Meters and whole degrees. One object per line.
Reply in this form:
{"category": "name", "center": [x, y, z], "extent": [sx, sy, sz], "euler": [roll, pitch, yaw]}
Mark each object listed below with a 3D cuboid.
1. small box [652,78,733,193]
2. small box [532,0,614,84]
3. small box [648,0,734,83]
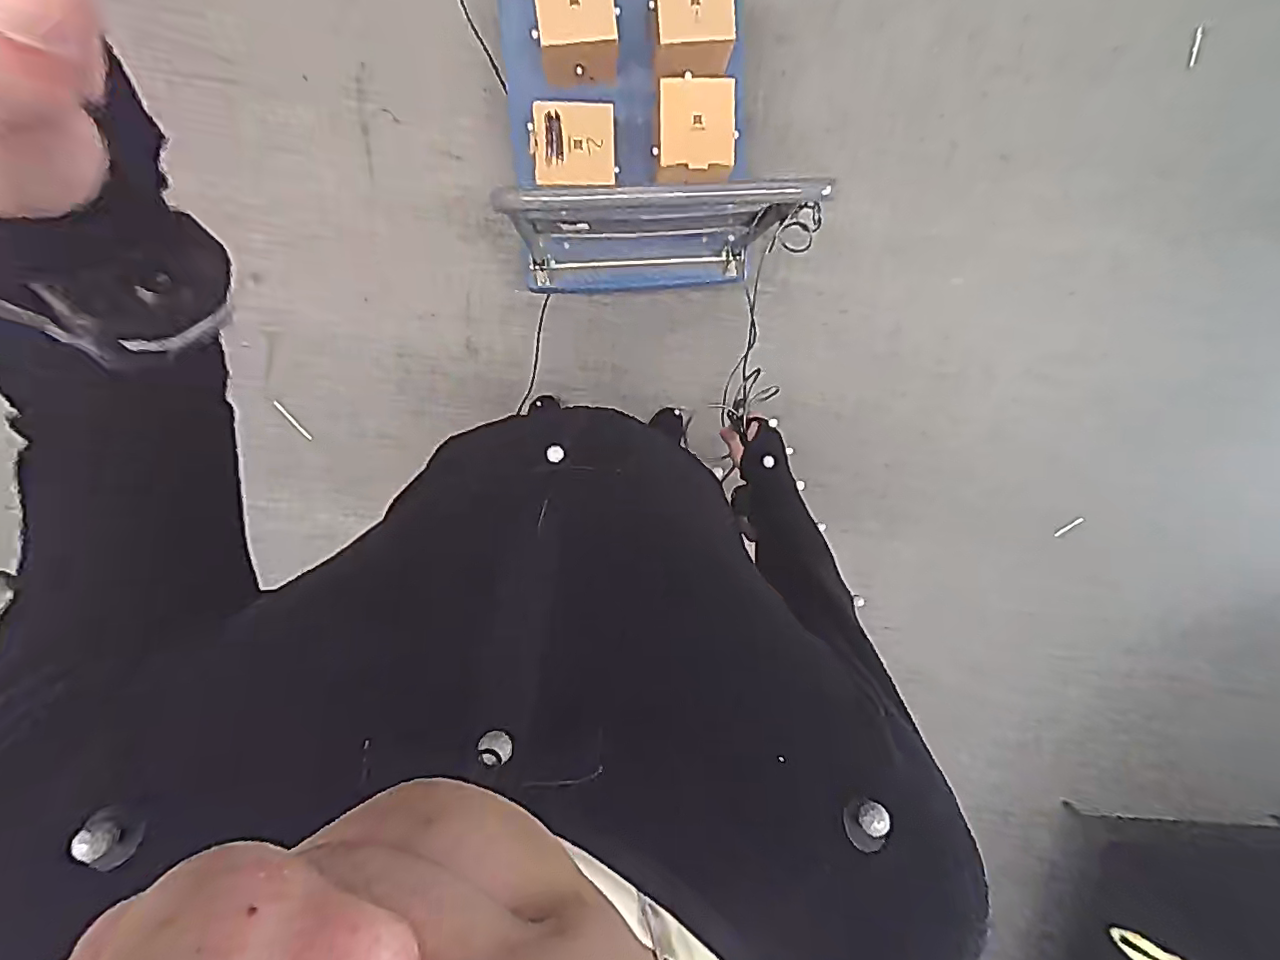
{"category": "small box", "center": [0.117, -0.791, 1.254], "extent": [0.168, 0.176, 0.179], "euler": [-2, 100, -3]}
{"category": "small box", "center": [-0.147, -1.015, 1.200], "extent": [0.168, 0.176, 0.179], "euler": [-7, 100, -3]}
{"category": "small box", "center": [0.109, -1.029, 1.212], "extent": [0.168, 0.176, 0.179], "euler": [-5, 101, -2]}
